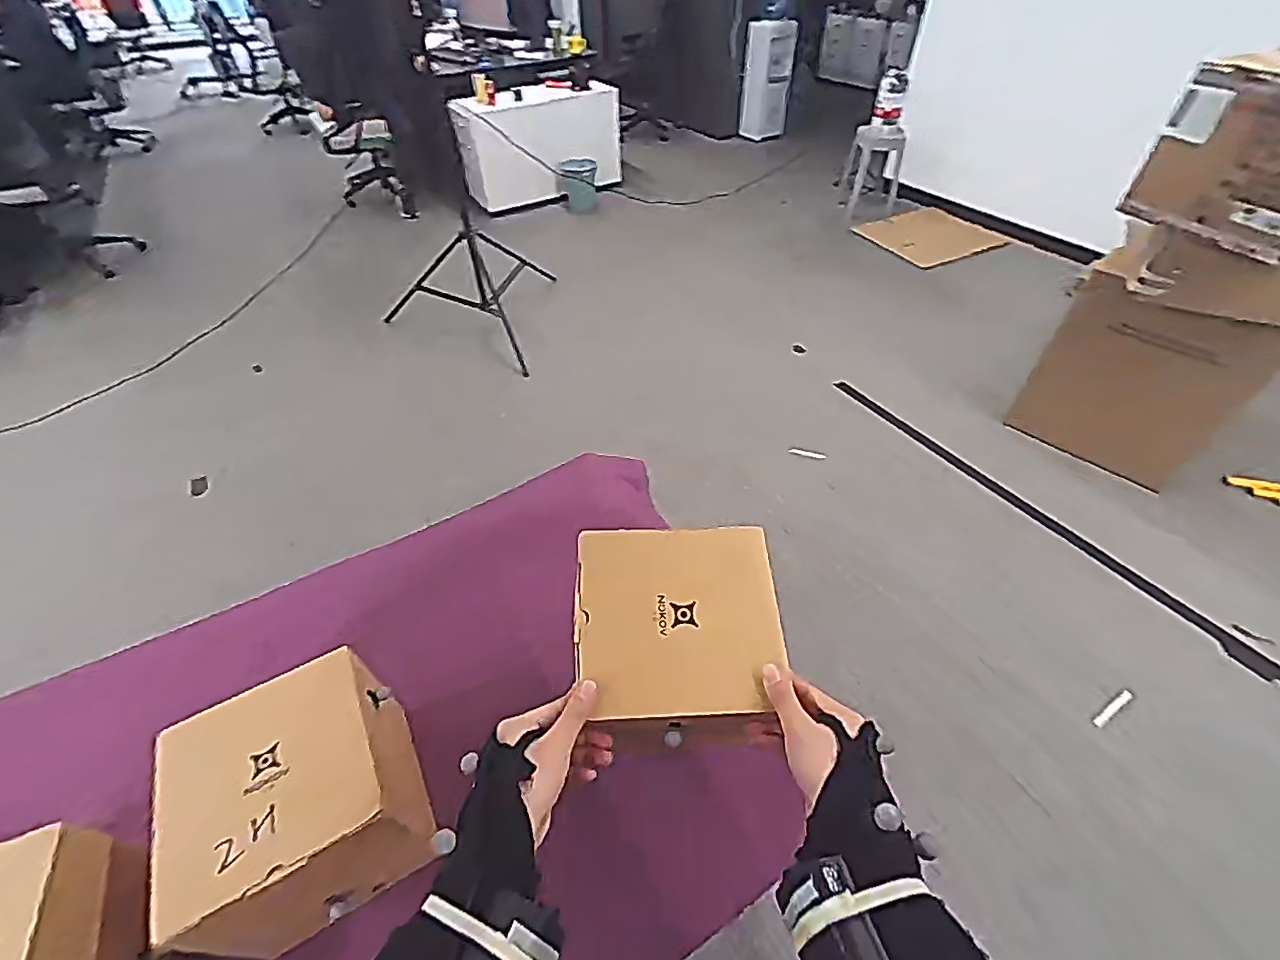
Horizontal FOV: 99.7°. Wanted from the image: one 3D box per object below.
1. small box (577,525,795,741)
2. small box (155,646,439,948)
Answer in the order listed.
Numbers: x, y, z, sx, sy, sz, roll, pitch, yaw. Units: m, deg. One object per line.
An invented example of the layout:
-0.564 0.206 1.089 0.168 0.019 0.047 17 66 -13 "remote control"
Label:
0.034 0.156 0.533 0.179 0.176 0.168 -2 57 -1 "small box"
-0.318 0.304 0.524 0.168 0.176 0.179 -24 50 -20 "small box"
